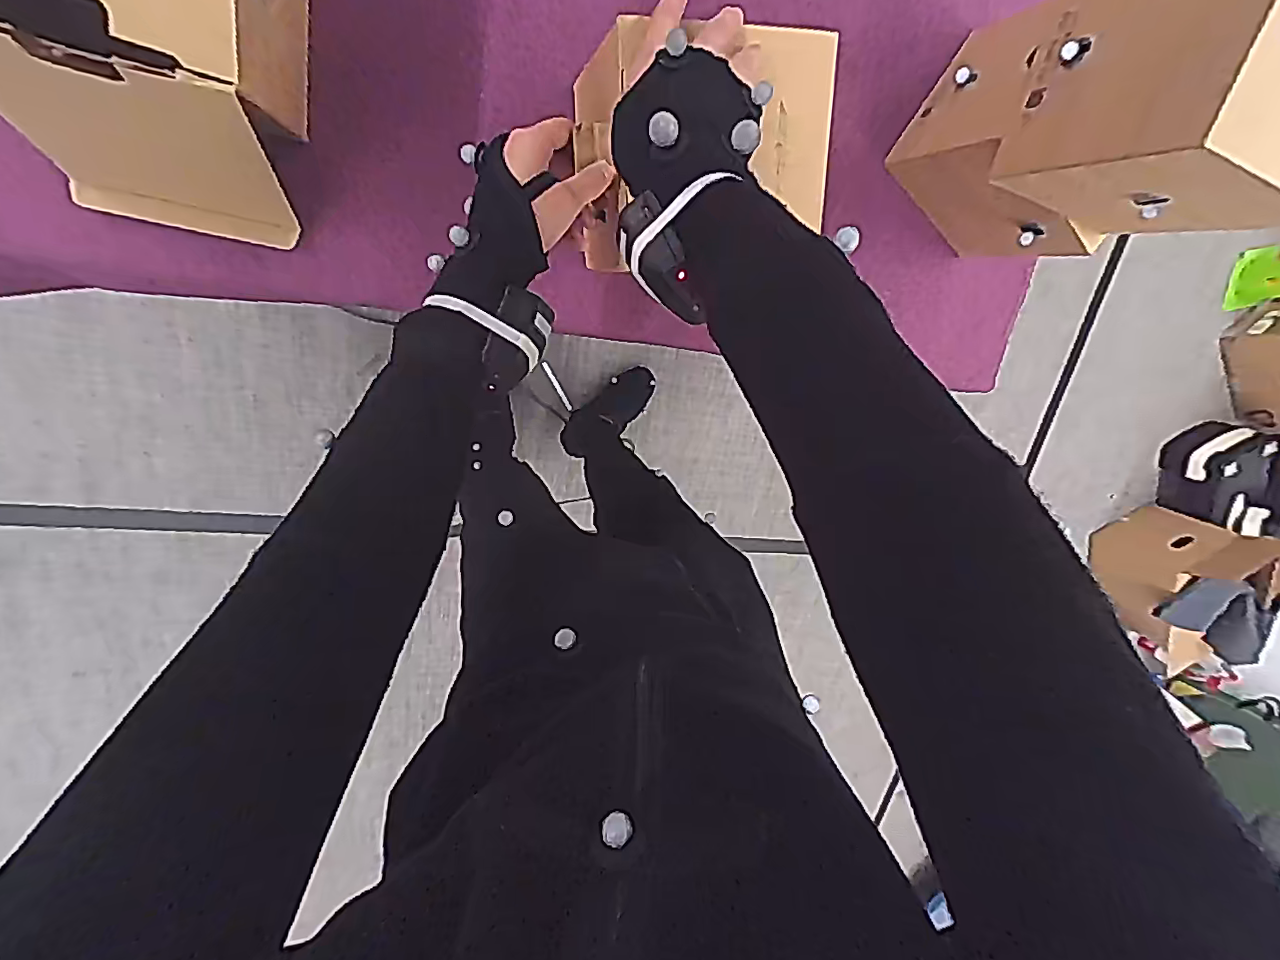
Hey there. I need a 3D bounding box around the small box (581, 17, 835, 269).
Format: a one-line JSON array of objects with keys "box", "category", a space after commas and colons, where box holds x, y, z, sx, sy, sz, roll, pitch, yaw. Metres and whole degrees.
[{"box": [0.045, -0.281, 0.492, 0.179, 0.176, 0.168, -8, 114, -15], "category": "small box"}]

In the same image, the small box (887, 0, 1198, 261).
[{"box": [0.413, -0.360, 0.576, 0.179, 0.176, 0.168, 31, 99, -26], "category": "small box"}]
